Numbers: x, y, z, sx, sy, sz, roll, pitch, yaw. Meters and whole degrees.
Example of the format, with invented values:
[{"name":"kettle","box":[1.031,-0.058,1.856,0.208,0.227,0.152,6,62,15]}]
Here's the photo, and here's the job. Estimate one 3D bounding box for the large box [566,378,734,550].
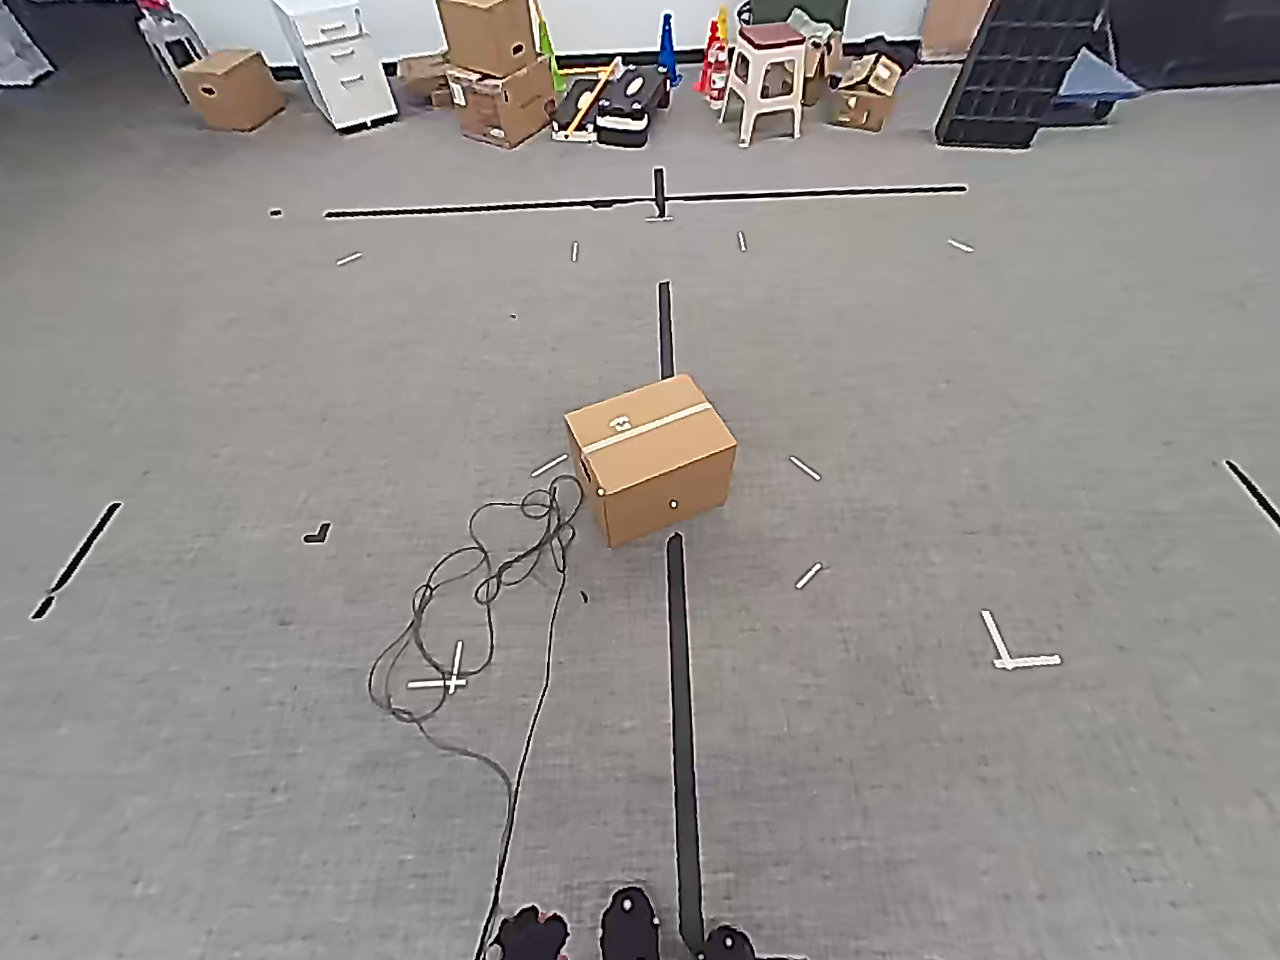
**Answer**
[{"name":"large box","box":[0.029,-0.046,1.665,0.408,0.320,0.320,-22,57,-12]}]
